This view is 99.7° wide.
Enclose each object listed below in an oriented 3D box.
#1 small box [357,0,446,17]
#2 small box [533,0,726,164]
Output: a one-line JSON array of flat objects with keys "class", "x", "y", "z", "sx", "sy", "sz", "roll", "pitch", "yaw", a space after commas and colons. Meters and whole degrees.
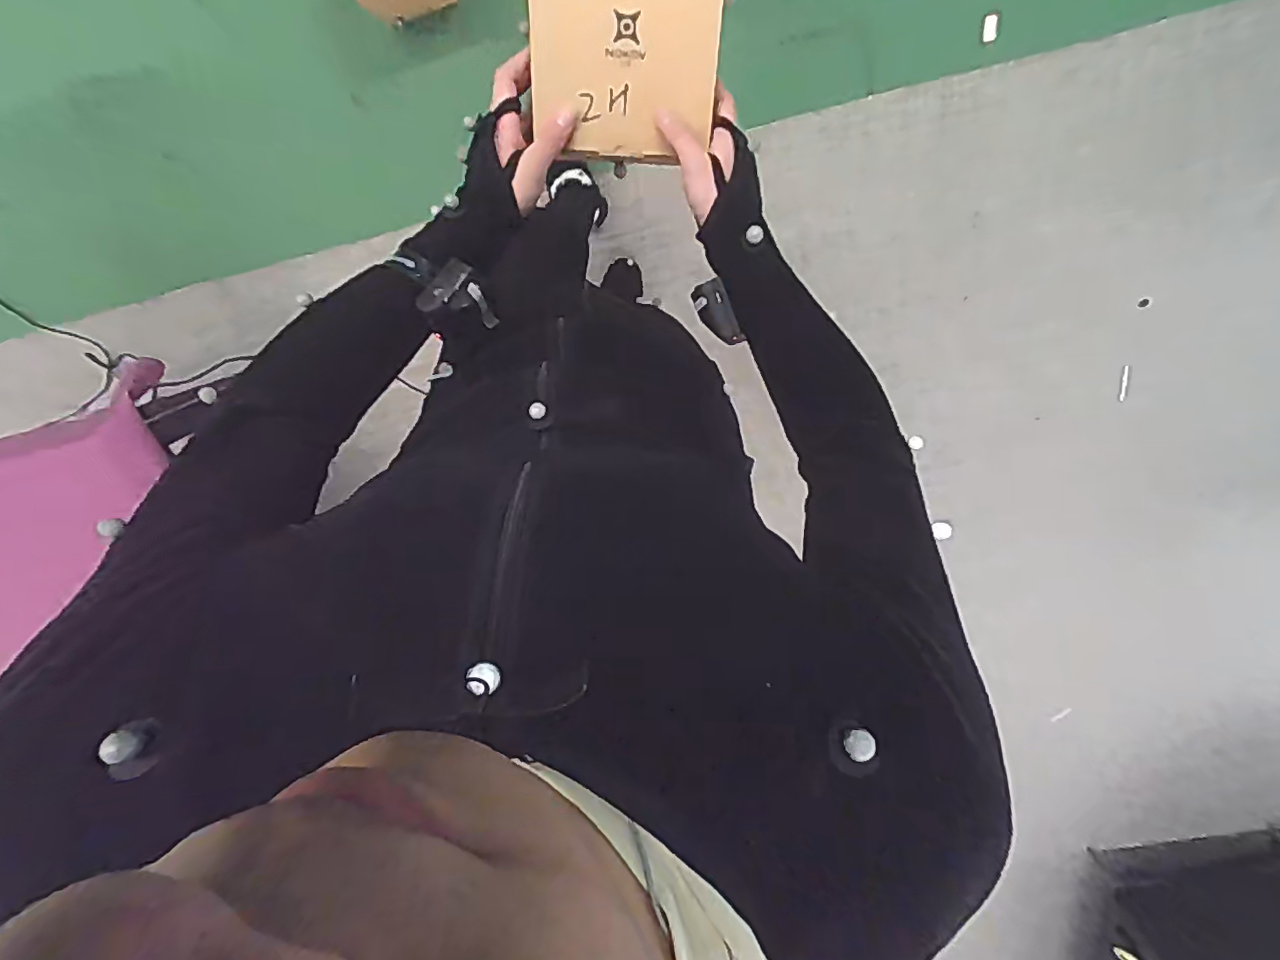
[{"class": "small box", "x": -0.506, "y": -1.072, "z": 1.084, "sx": 0.168, "sy": 0.176, "sz": 0.179, "roll": -15, "pitch": 115, "yaw": 6}, {"class": "small box", "x": -0.014, "y": -0.422, "z": 0.536, "sx": 0.168, "sy": 0.176, "sz": 0.179, "roll": 2, "pitch": 120, "yaw": -4}]
